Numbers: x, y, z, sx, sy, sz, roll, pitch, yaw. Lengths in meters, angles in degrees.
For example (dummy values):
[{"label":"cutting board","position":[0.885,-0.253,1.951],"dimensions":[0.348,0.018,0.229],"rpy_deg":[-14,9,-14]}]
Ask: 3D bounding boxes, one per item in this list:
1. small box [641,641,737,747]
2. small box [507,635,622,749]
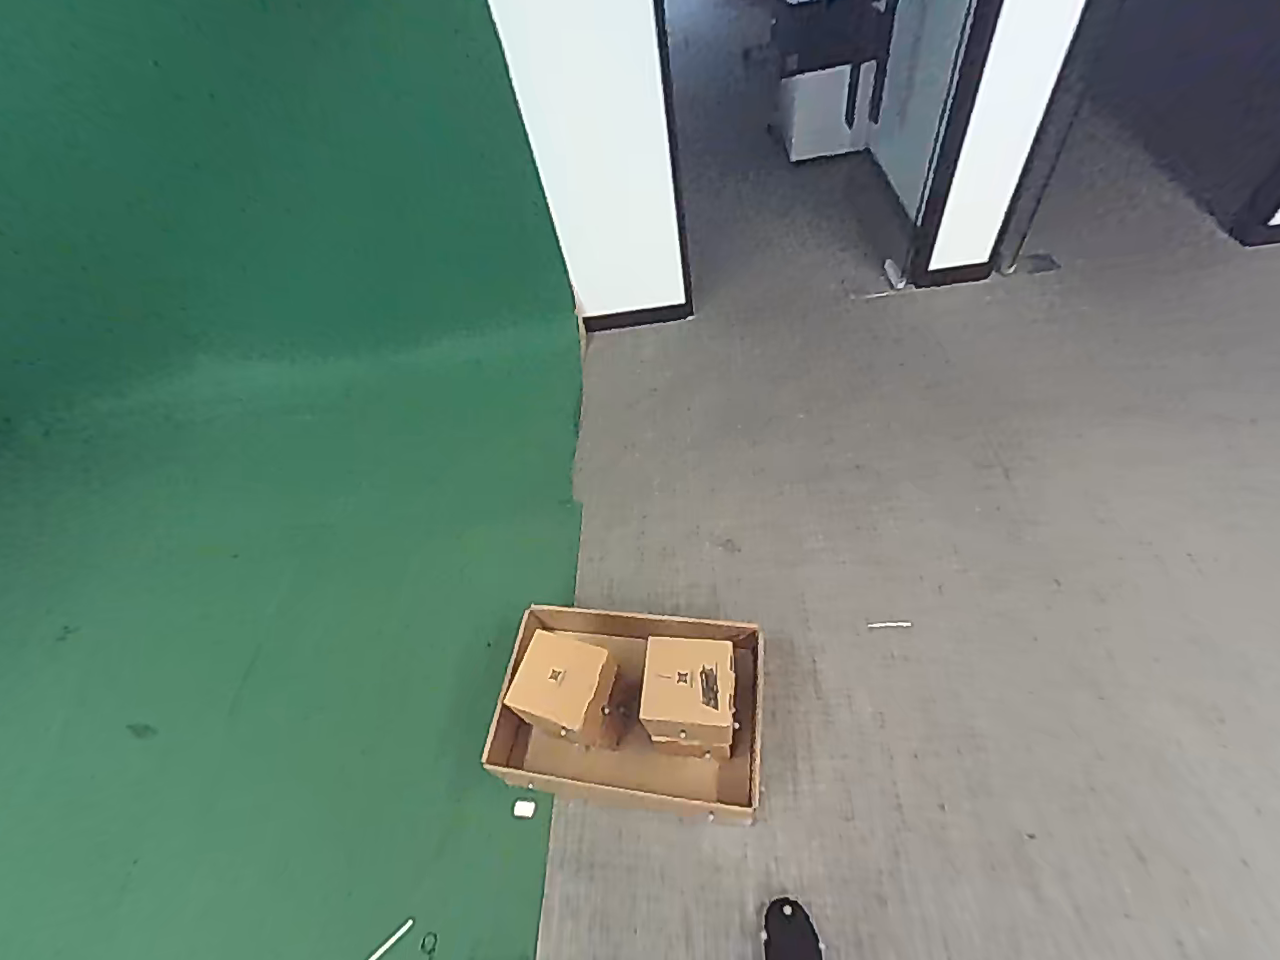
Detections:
[{"label":"small box","position":[0.111,0.451,1.132],"dimensions":[0.179,0.176,0.168],"rpy_deg":[-1,53,13]},{"label":"small box","position":[-0.155,0.466,1.180],"dimensions":[0.179,0.176,0.168],"rpy_deg":[11,56,17]}]
